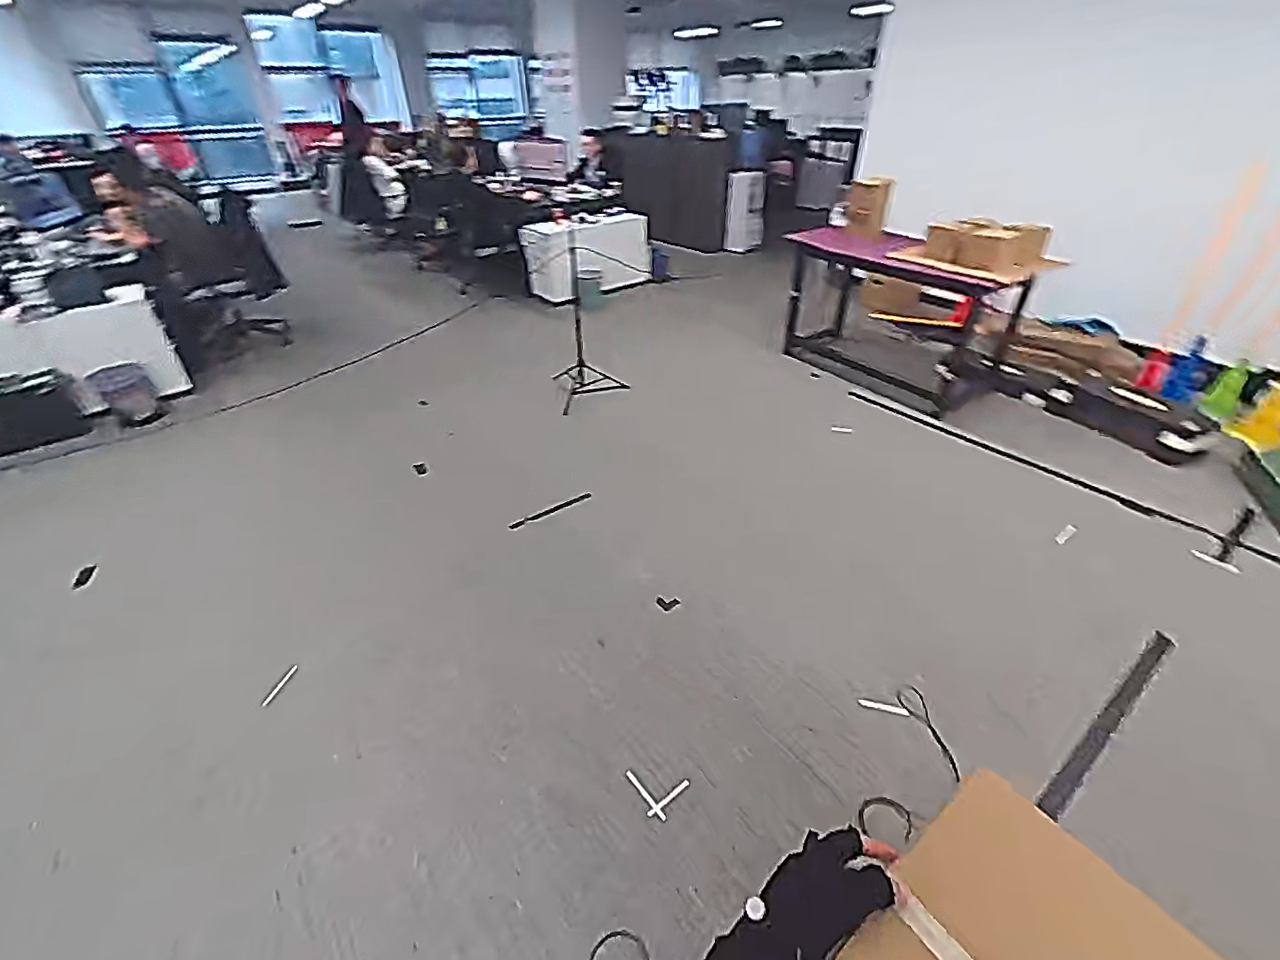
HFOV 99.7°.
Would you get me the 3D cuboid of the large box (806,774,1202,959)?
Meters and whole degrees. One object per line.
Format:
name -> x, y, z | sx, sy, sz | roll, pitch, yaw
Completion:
large box -> 0.345, 0.567, 0.463 | 0.320, 0.320, 0.408 | -31, 48, -23
